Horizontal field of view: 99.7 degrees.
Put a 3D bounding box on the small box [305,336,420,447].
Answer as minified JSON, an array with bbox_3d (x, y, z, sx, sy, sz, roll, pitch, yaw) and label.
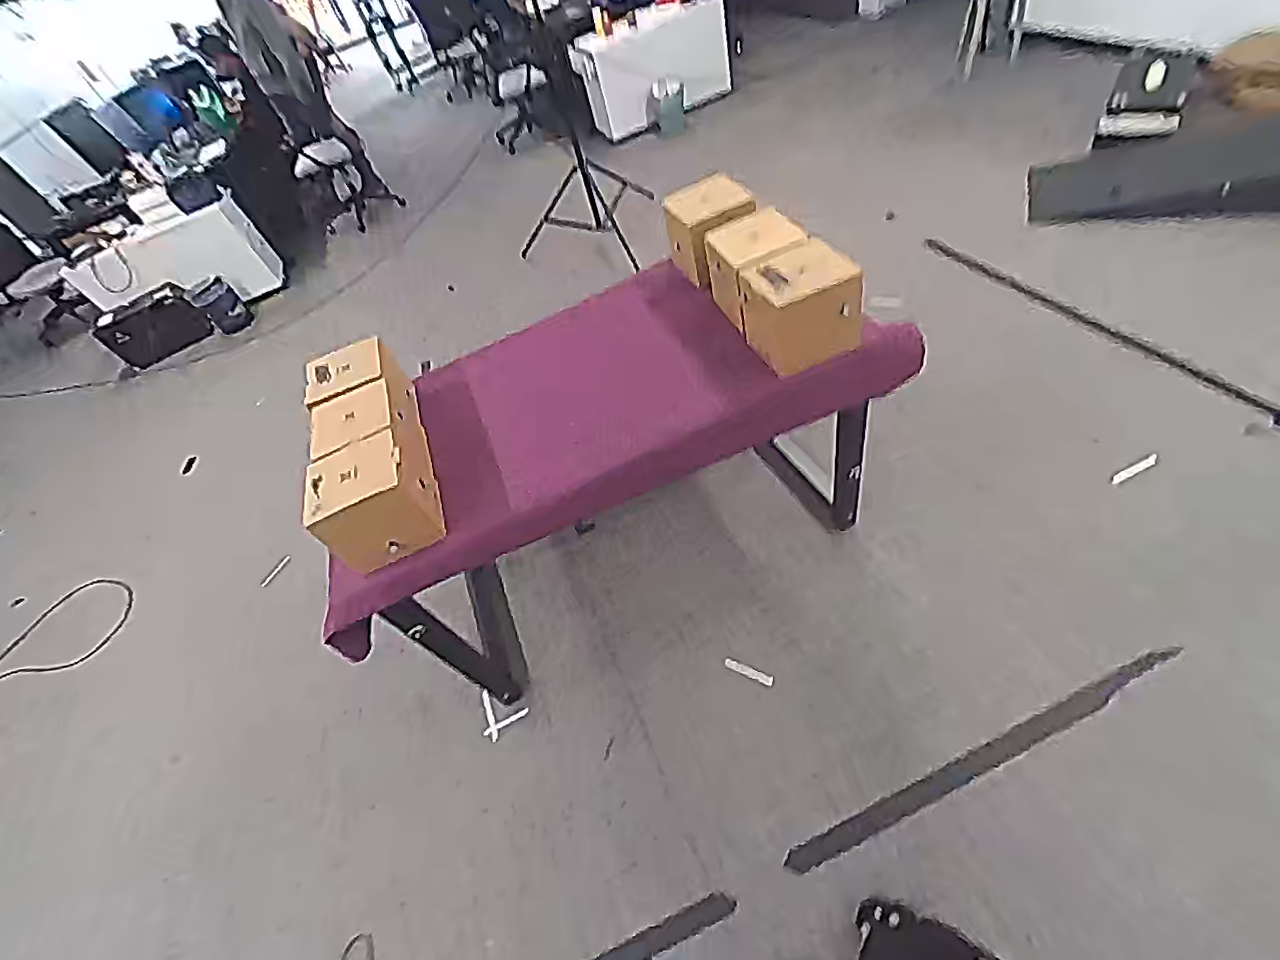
[{"bbox_3d":[-0.644,-0.199,1.265,0.179,0.176,0.168,-24,51,-4],"label":"small box"}]

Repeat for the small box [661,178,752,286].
[{"bbox_3d":[0.174,-0.616,1.352,0.179,0.176,0.168,-25,50,-4],"label":"small box"}]

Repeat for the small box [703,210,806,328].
[{"bbox_3d":[0.261,-0.465,1.213,0.168,0.176,0.179,-23,48,-1],"label":"small box"}]

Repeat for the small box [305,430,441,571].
[{"bbox_3d":[-0.497,0.041,1.029,0.179,0.176,0.168,-25,48,-5],"label":"small box"}]
